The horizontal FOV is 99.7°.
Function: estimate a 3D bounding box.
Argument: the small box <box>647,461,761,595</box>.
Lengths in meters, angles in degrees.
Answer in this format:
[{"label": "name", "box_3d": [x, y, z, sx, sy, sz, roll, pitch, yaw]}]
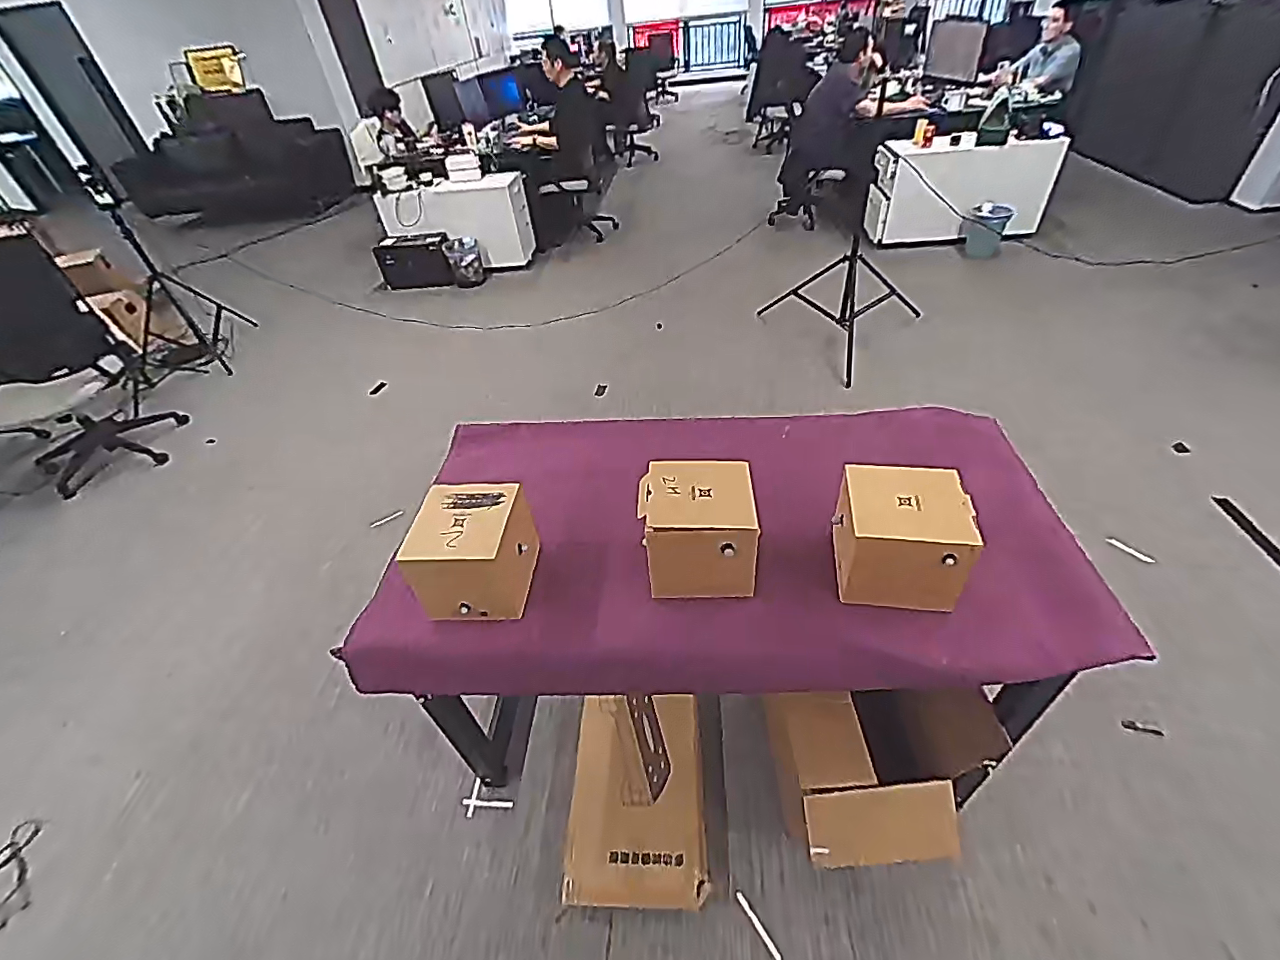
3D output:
[{"label": "small box", "box_3d": [0.107, 0.084, 0.932, 0.179, 0.176, 0.168, -2, 40, 6]}]

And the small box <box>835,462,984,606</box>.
[{"label": "small box", "box_3d": [0.422, 0.089, 0.884, 0.179, 0.176, 0.168, 3, 43, 11]}]
